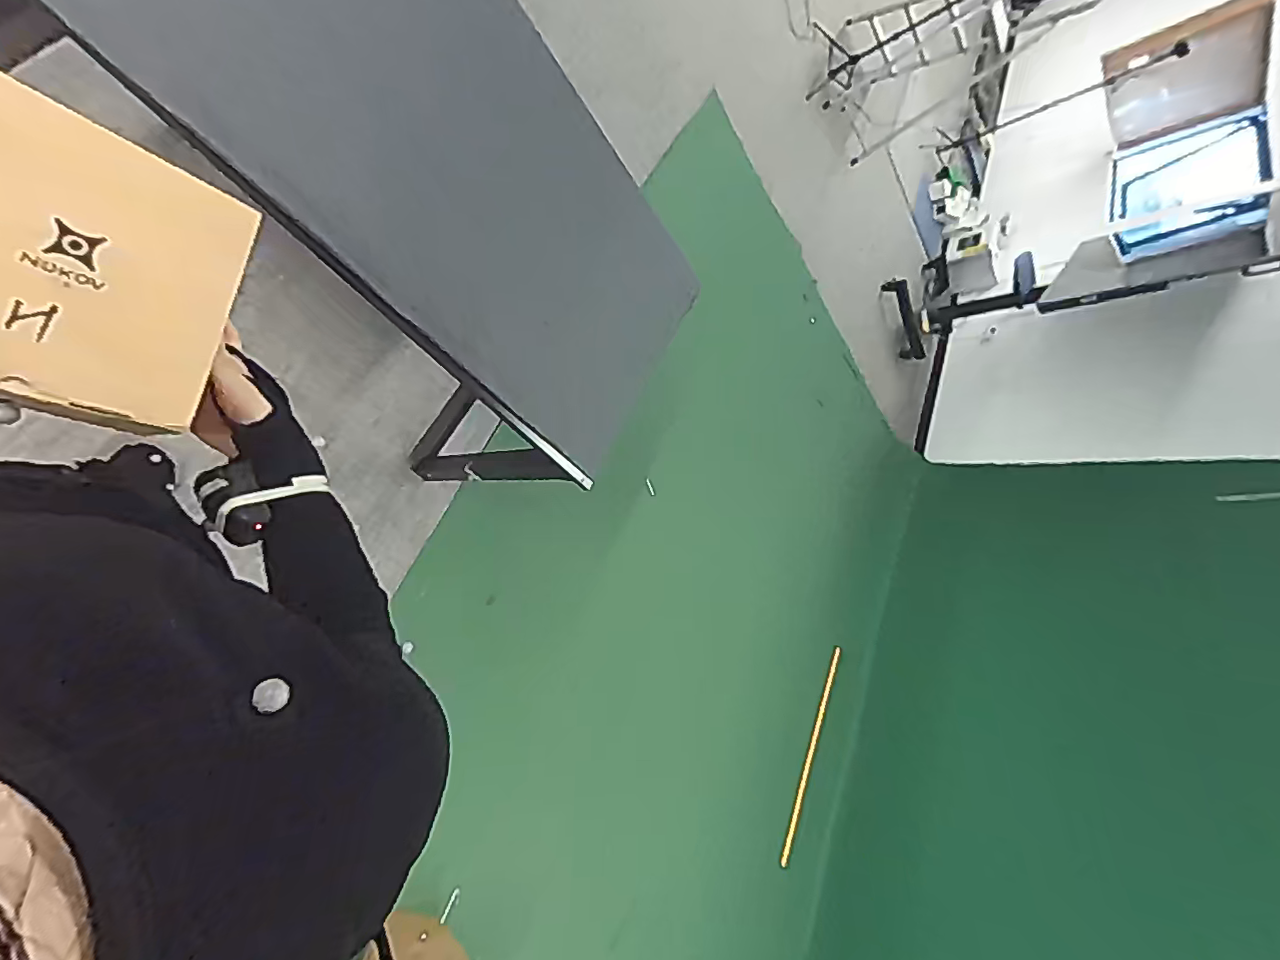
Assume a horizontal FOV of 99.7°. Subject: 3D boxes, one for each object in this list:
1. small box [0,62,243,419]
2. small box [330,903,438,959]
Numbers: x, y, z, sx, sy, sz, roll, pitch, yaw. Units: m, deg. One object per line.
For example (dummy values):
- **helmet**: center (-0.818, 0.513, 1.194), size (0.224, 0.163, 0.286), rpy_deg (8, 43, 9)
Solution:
- **small box**: center (-0.422, -0.150, 0.376), size (0.168, 0.176, 0.179), rpy_deg (22, 76, -50)
- **small box**: center (-0.685, 1.270, 1.439), size (0.179, 0.176, 0.168), rpy_deg (47, 59, -36)
